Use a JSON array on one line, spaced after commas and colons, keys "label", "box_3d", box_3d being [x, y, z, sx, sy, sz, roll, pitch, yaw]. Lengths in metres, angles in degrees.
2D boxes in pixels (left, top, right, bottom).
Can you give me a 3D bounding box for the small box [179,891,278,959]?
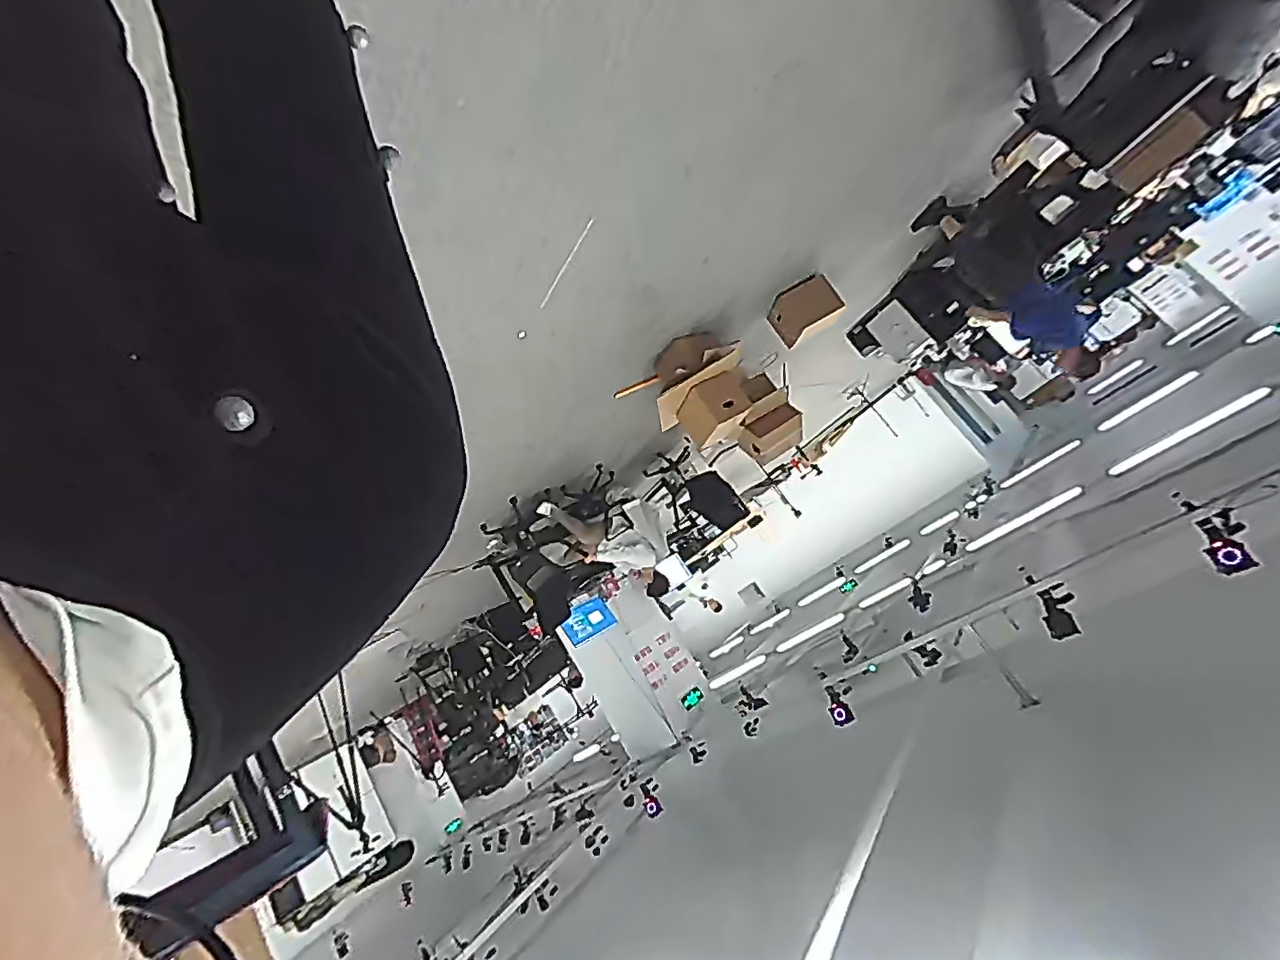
[{"label": "small box", "box_3d": [-1.145, 1.295, 1.500, 0.179, 0.176, 0.168, -18, 160, -50]}]
